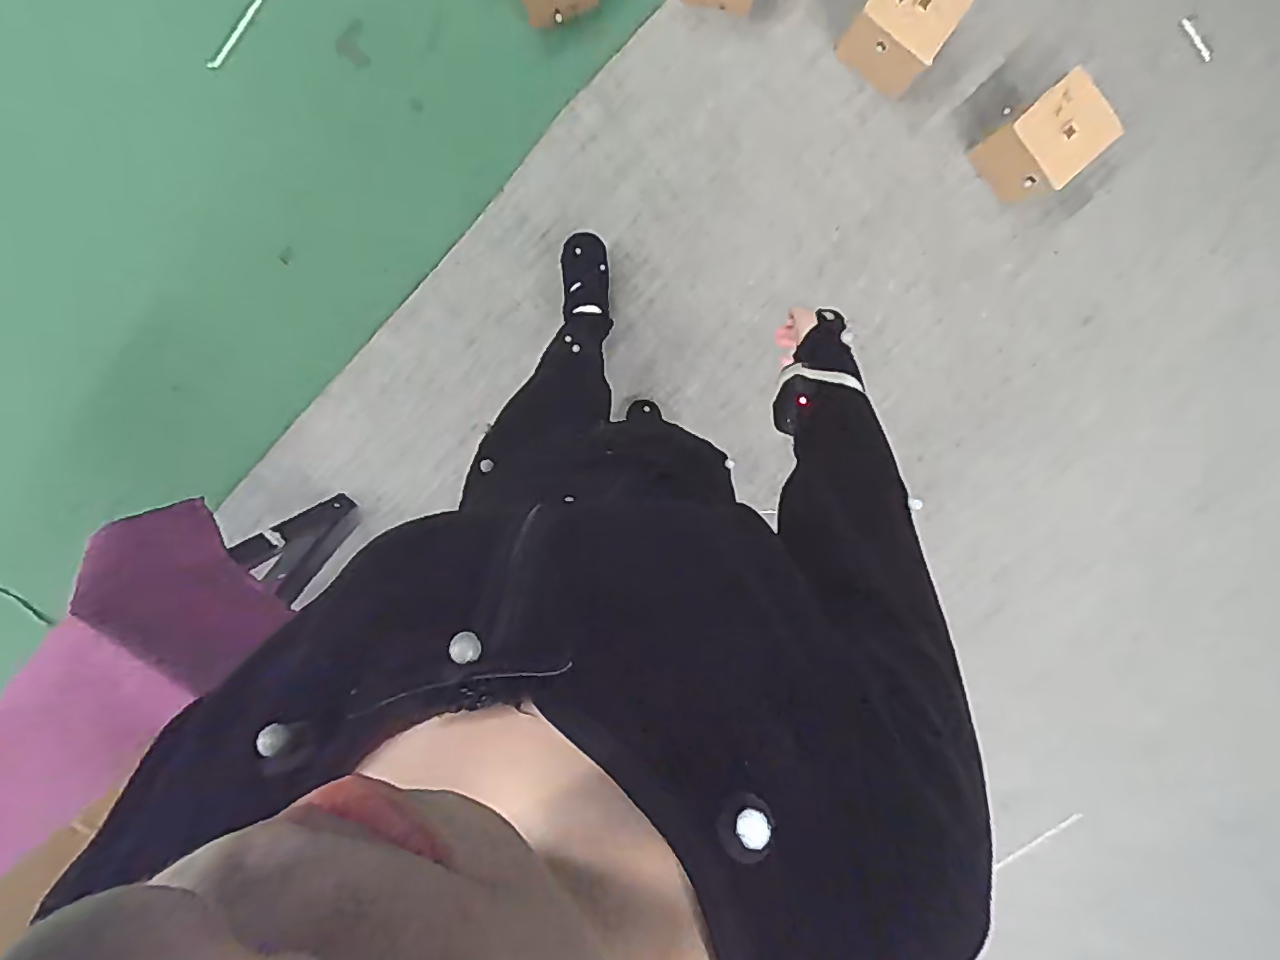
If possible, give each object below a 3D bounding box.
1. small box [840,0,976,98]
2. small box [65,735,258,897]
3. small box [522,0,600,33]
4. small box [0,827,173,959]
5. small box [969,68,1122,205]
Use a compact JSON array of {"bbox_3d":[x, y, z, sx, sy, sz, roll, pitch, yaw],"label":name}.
[{"bbox_3d":[0.561,-0.968,1.151,0.179,0.176,0.168,34,102,-7],"label":"small box"},{"bbox_3d":[-0.730,0.532,0.809,0.168,0.176,0.179,41,101,-8],"label":"small box"},{"bbox_3d":[-0.193,-1.107,1.138,0.168,0.176,0.179,-18,103,6],"label":"small box"},{"bbox_3d":[-0.732,0.569,0.649,0.179,0.176,0.168,40,101,-9],"label":"small box"},{"bbox_3d":[0.886,-0.742,1.198,0.168,0.176,0.179,-42,99,10],"label":"small box"}]
